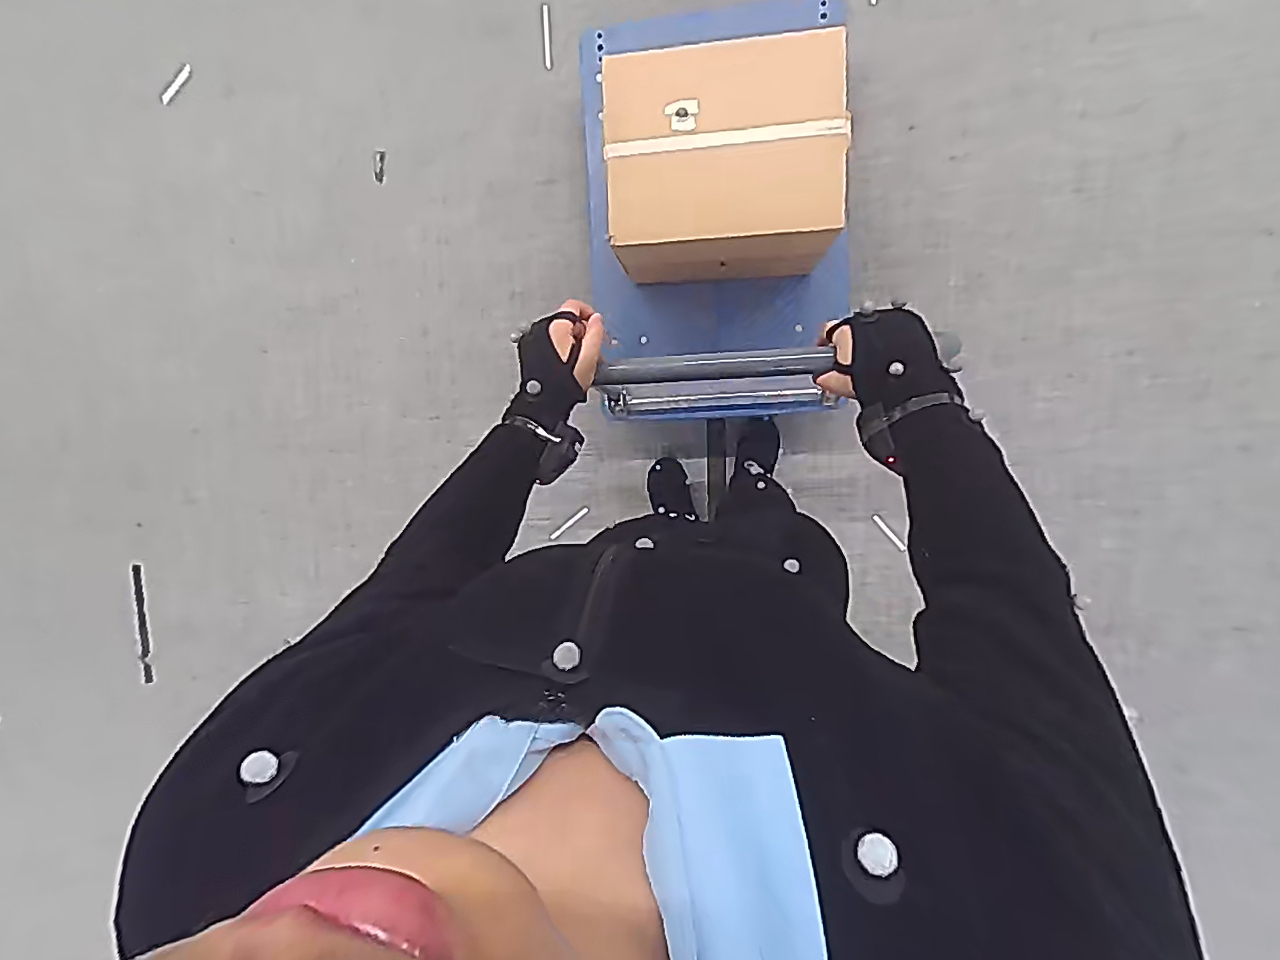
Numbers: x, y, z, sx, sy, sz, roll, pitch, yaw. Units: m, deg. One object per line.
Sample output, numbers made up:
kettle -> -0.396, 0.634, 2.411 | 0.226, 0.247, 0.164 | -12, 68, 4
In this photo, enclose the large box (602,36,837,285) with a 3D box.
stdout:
large box -> 0.159, -0.596, 1.087 | 0.408, 0.320, 0.320 | -1, 96, 9
